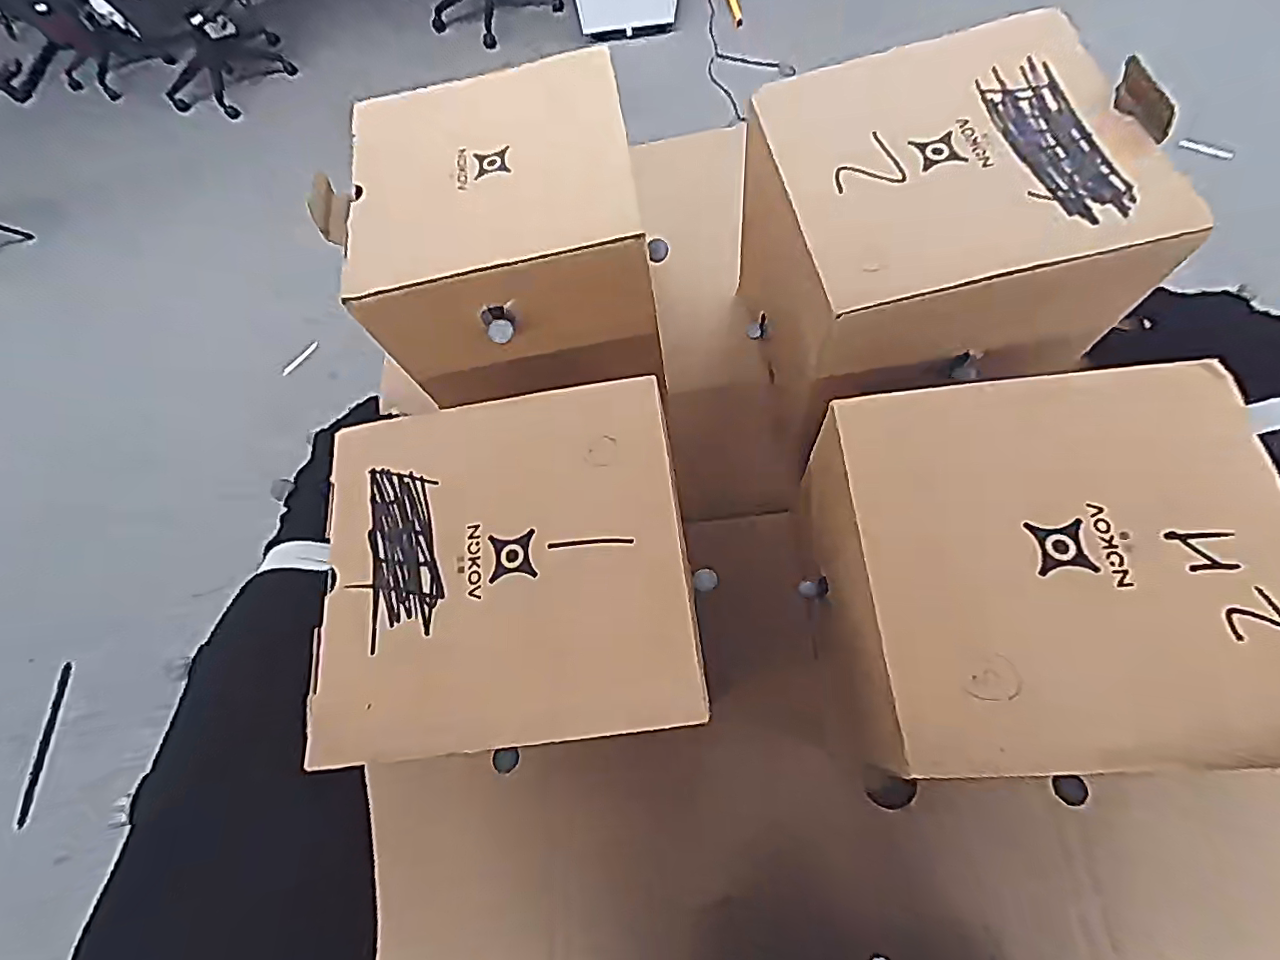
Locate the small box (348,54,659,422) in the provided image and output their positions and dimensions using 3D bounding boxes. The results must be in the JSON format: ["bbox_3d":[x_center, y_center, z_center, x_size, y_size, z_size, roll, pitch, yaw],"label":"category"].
[{"bbox_3d":[-0.084,-0.163,0.409,0.179,0.176,0.168,-11,67,5],"label":"small box"}]
